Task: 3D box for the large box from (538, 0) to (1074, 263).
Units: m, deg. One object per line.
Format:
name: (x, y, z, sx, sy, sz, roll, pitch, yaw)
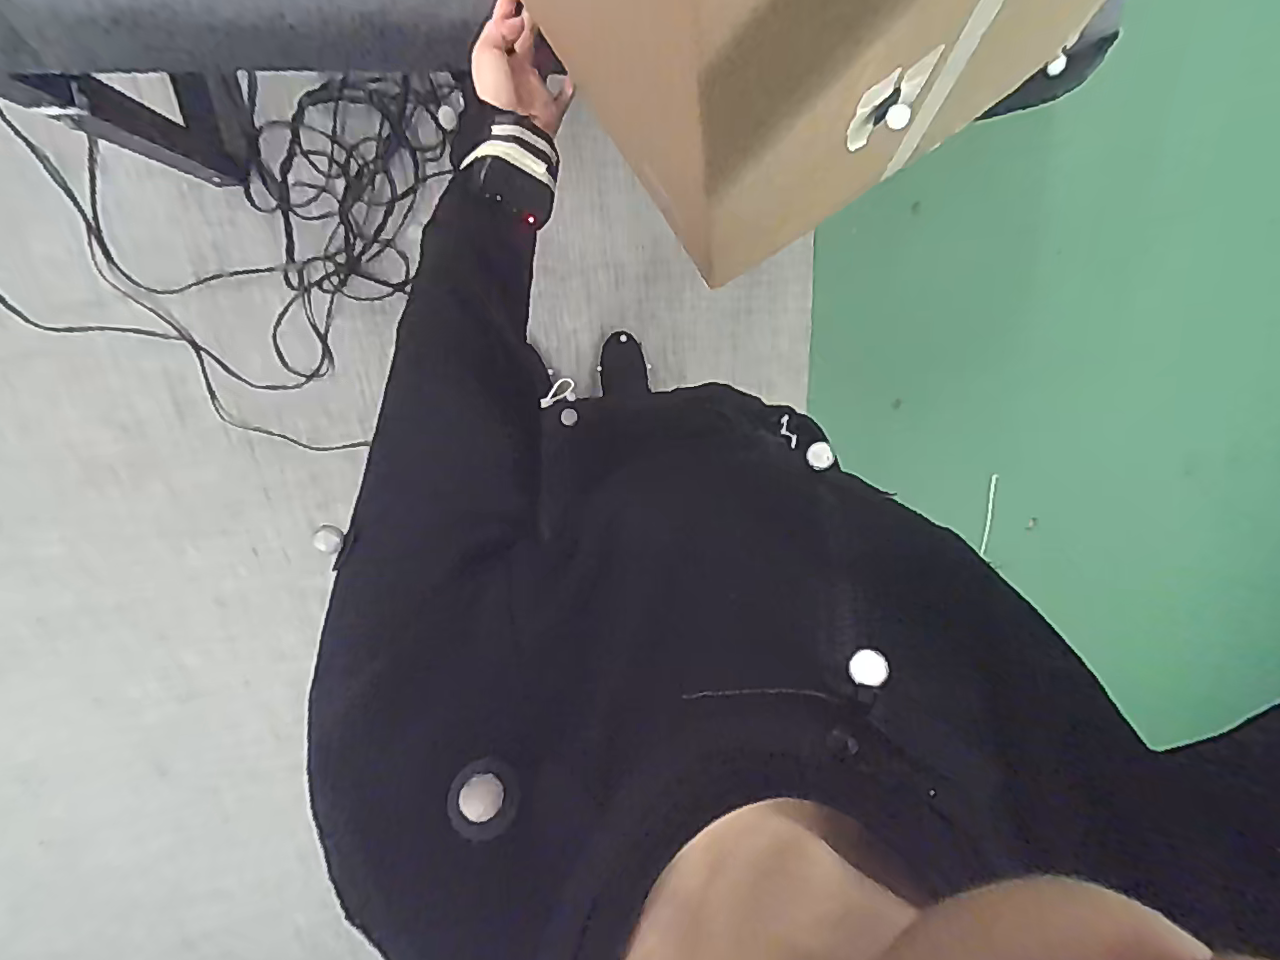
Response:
large box: (0.076, -0.375, 0.236, 0.320, 0.408, 0.320, -33, 88, 8)
